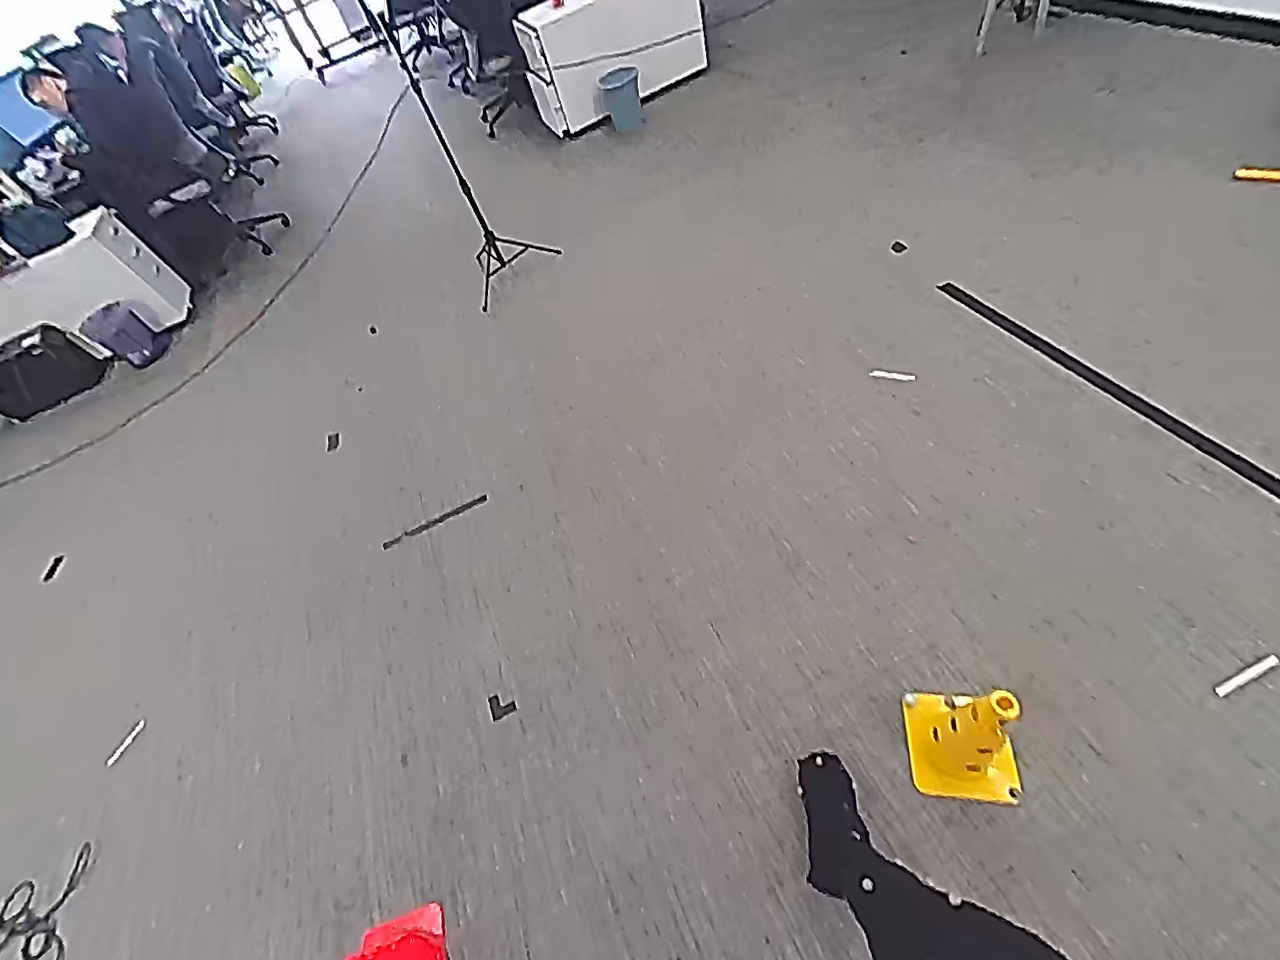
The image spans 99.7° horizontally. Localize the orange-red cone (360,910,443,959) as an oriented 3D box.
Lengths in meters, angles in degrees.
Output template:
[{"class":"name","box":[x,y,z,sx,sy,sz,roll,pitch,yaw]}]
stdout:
[{"class":"orange-red cone","box":[-0.556,0.978,1.034,0.199,0.360,0.198,-21,52,0]}]
